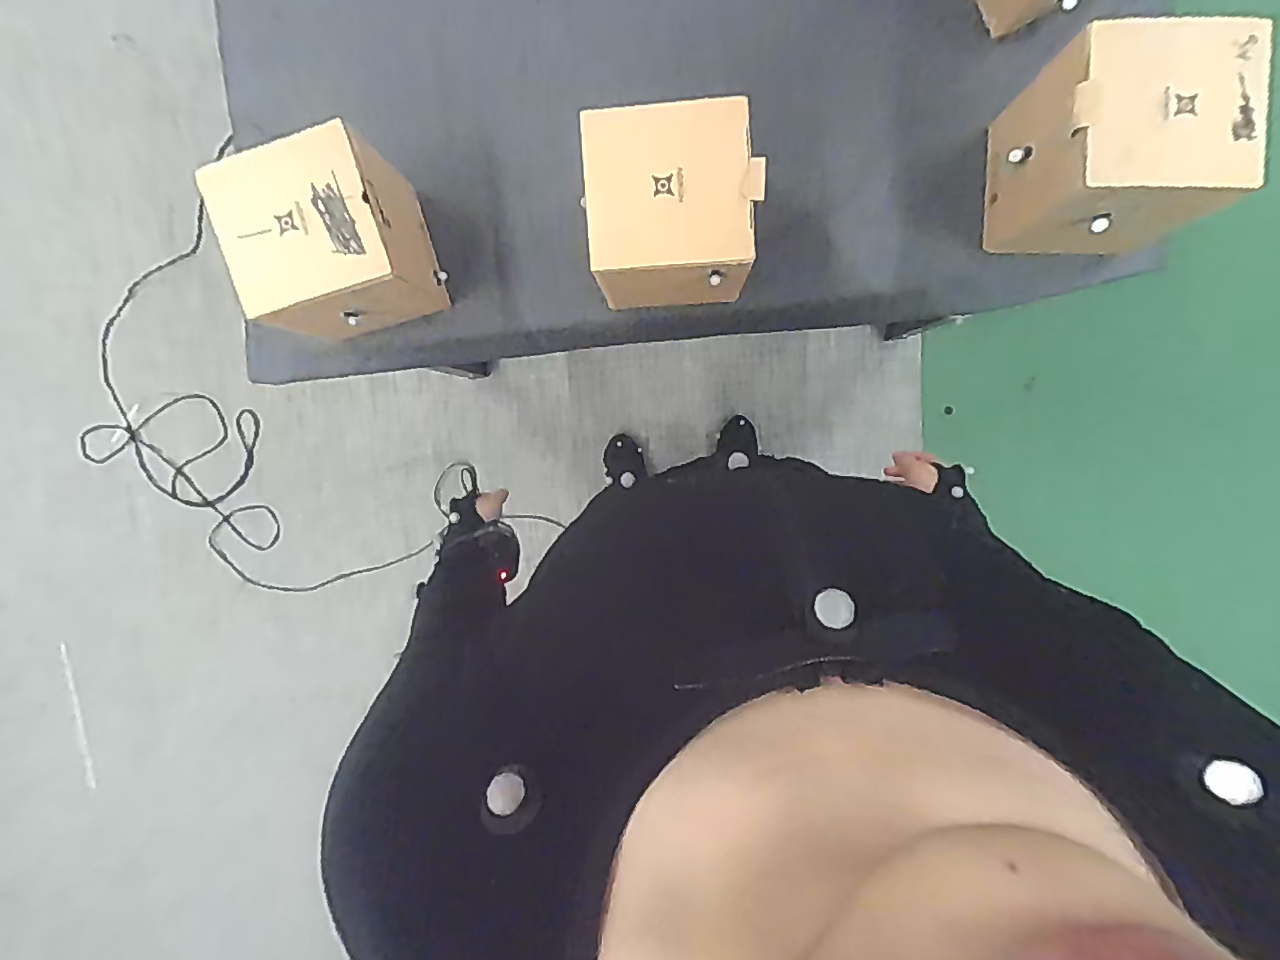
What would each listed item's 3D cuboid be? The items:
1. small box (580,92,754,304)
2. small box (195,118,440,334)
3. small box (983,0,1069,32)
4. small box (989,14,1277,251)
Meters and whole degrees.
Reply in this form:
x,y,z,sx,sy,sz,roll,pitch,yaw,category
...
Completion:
x,y,z,sx,sy,sz,roll,pitch,yaw,category
0.033,-0.313,0.638,0.179,0.176,0.168,-3,95,3,small box
-0.364,-0.288,0.653,0.179,0.176,0.168,-15,96,4,small box
0.478,-0.654,0.582,0.168,0.176,0.179,-26,97,8,small box
0.528,-0.371,0.607,0.179,0.176,0.168,2,92,3,small box
